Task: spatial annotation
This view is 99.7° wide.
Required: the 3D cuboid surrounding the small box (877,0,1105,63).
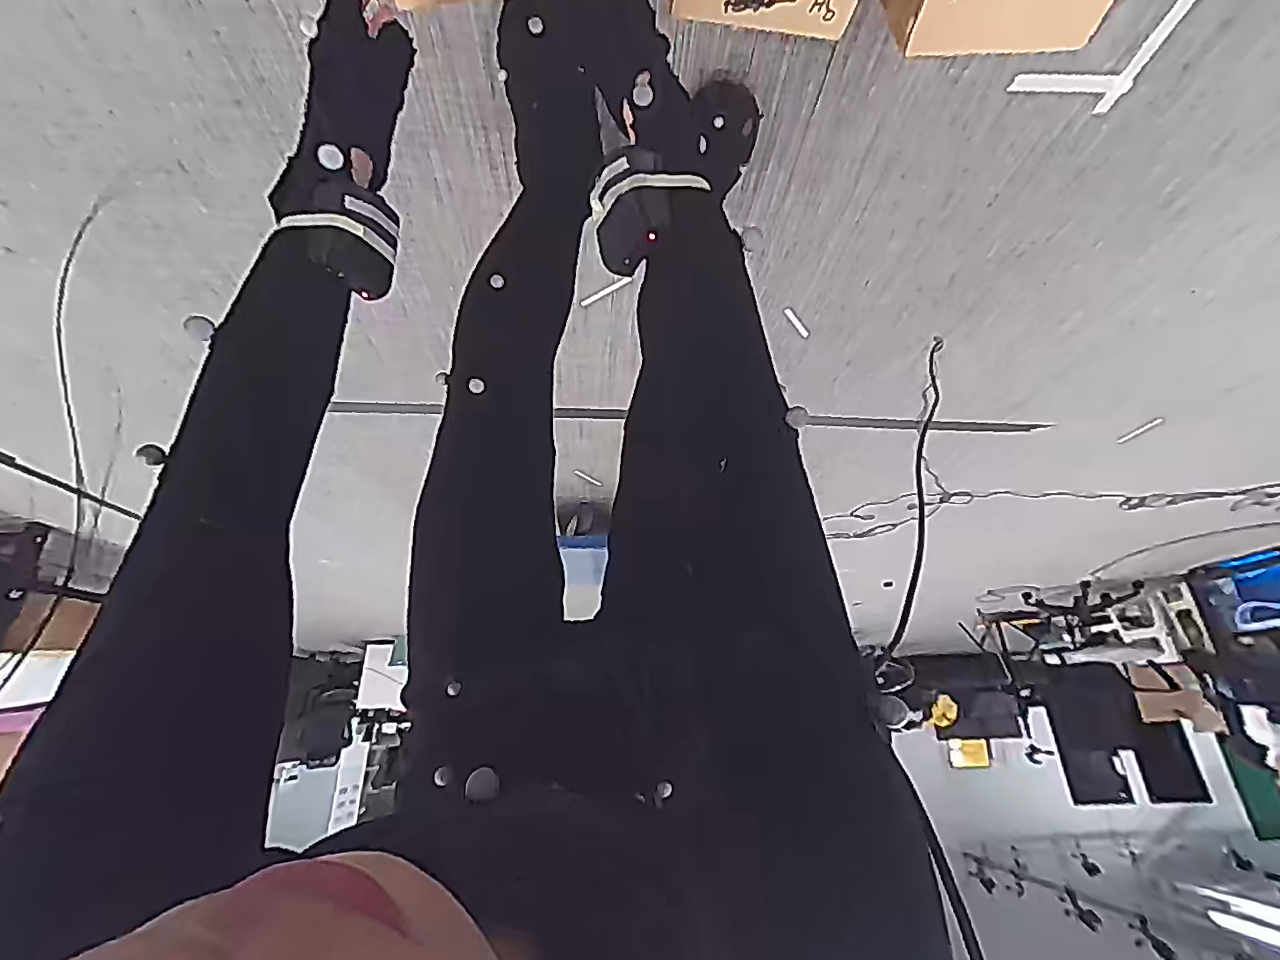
[{"bbox_3d":[0.327,-0.514,0.485,0.179,0.176,0.168,-2,156,-1],"label":"small box"}]
